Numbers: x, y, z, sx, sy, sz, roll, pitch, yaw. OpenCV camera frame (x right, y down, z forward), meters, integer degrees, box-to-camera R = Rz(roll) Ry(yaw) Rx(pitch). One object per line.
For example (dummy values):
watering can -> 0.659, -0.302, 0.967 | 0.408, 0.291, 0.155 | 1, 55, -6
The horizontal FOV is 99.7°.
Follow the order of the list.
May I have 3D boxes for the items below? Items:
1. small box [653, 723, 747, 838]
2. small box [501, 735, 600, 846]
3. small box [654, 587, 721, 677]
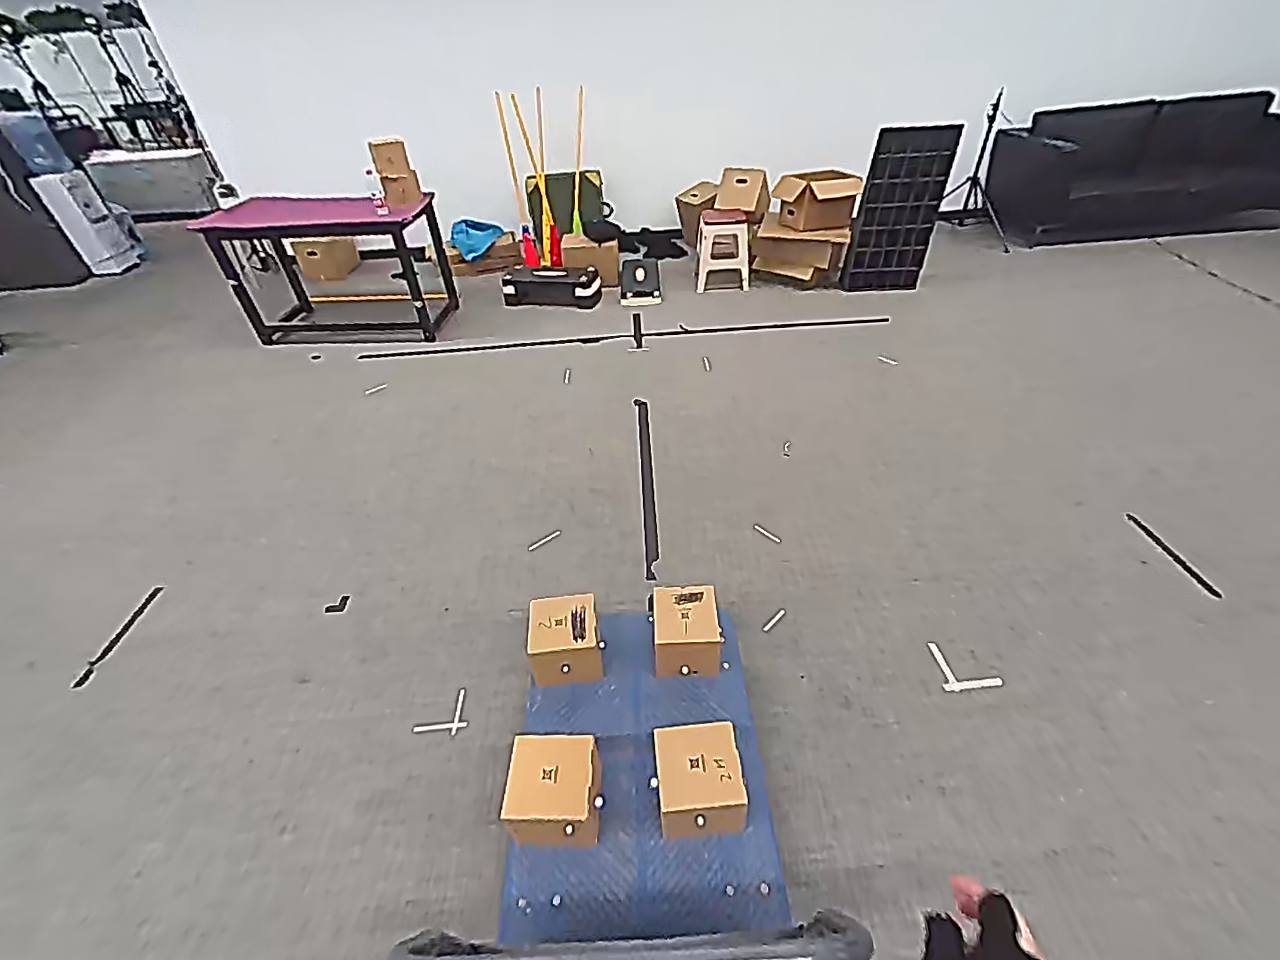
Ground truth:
small box -> 0.125, 0.652, 1.170 | 0.179, 0.176, 0.168 | -5, 41, -1
small box -> -0.184, 0.673, 1.170 | 0.179, 0.176, 0.168 | -1, 40, 1
small box -> 0.122, 0.409, 1.454 | 0.168, 0.176, 0.179 | -2, 42, 2
